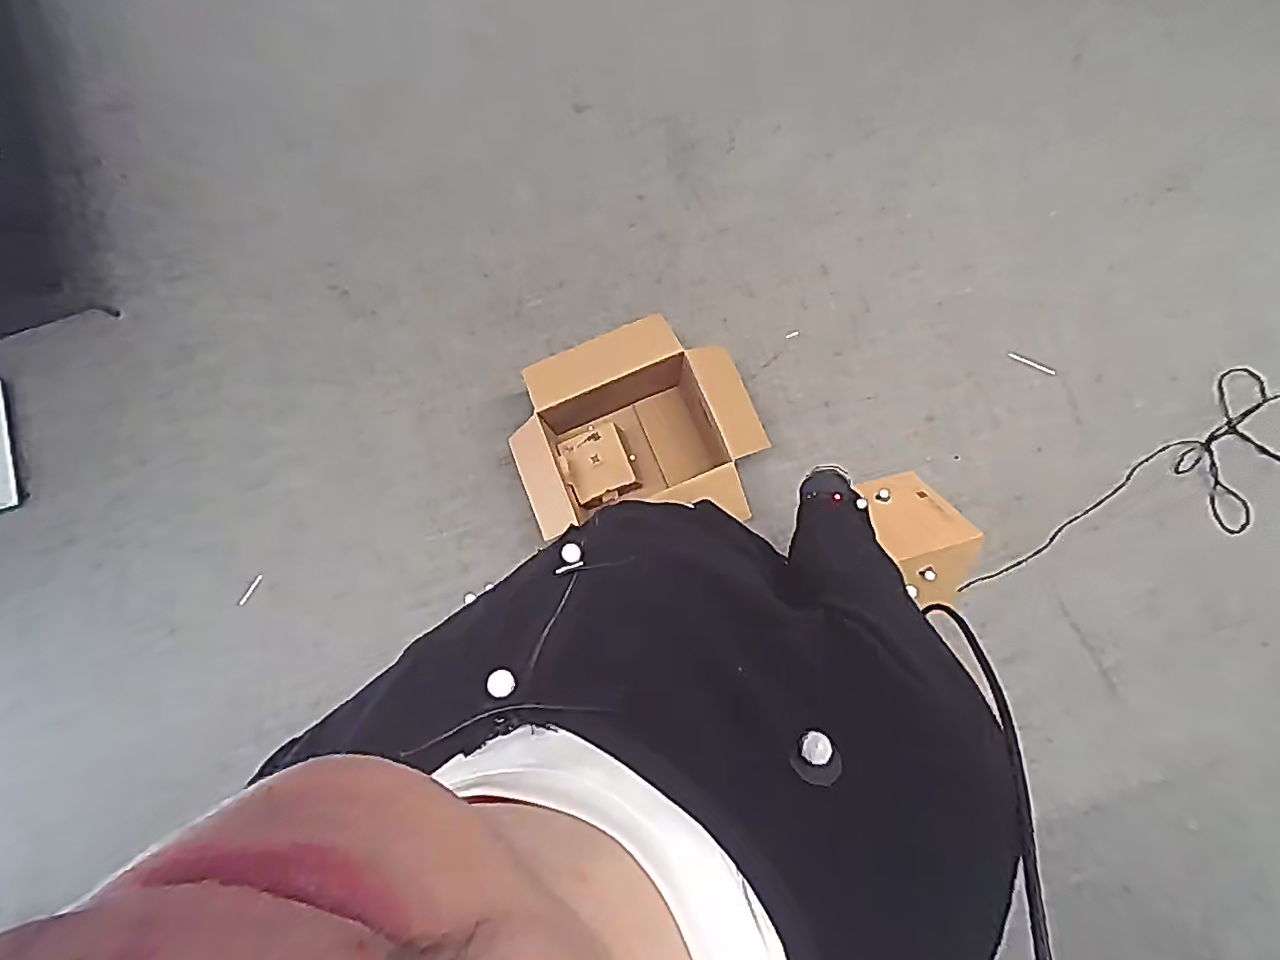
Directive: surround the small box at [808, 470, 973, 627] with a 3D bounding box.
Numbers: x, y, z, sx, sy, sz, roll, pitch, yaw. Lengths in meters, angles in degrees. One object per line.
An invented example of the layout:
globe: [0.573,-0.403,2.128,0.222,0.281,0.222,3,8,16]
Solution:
small box: [0.404,0.106,0.889,0.176,0.179,0.168,-14,41,-11]
